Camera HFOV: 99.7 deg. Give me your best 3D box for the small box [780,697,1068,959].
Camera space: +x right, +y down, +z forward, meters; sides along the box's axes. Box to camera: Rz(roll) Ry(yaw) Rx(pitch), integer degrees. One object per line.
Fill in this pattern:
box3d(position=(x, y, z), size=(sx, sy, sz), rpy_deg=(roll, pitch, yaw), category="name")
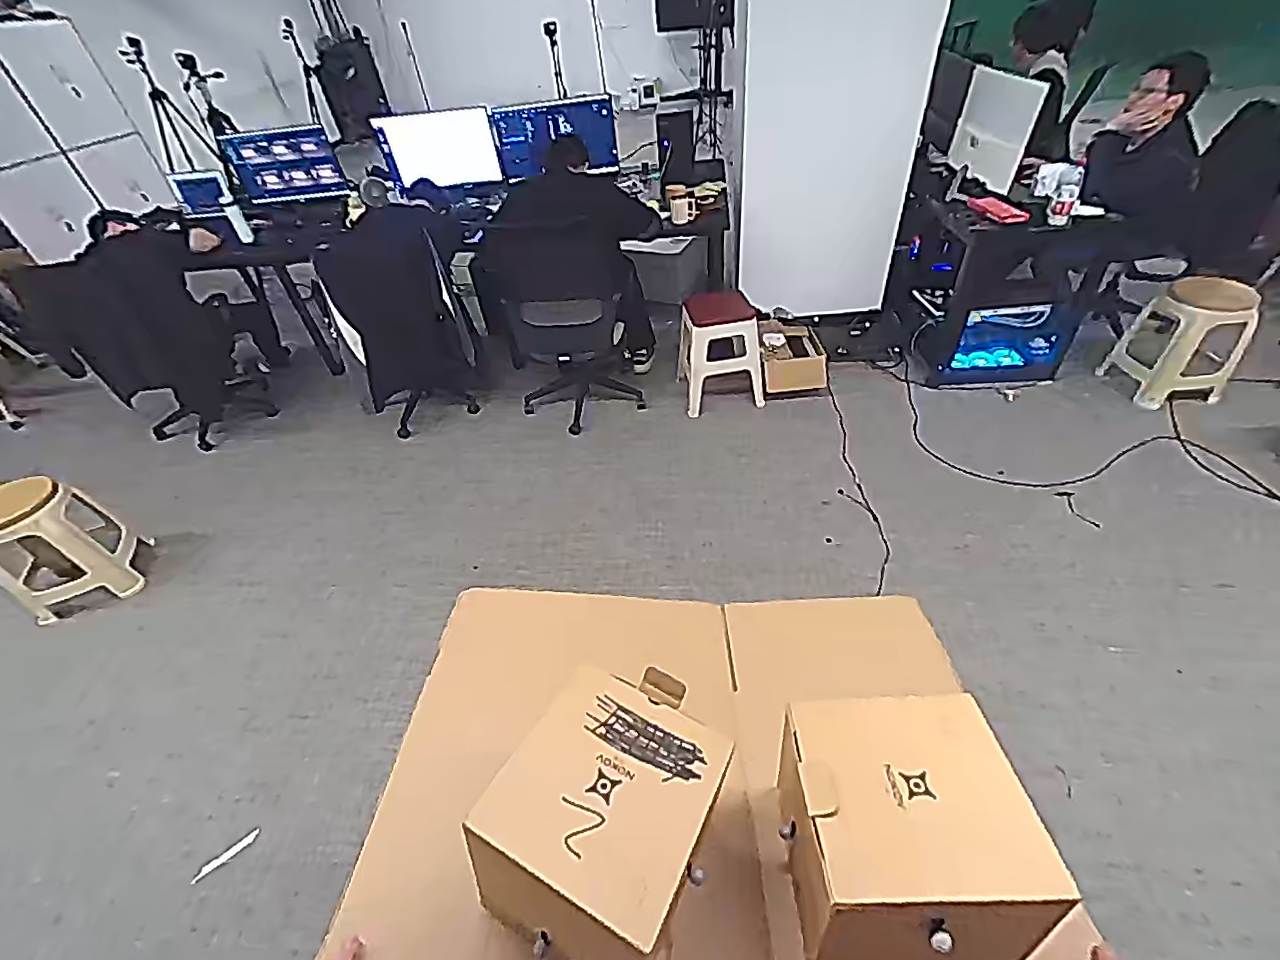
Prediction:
box3d(position=(0.238, 0.328, 0.510), size=(0.179, 0.176, 0.168), rpy_deg=(-4, 34, 4), category="small box")
